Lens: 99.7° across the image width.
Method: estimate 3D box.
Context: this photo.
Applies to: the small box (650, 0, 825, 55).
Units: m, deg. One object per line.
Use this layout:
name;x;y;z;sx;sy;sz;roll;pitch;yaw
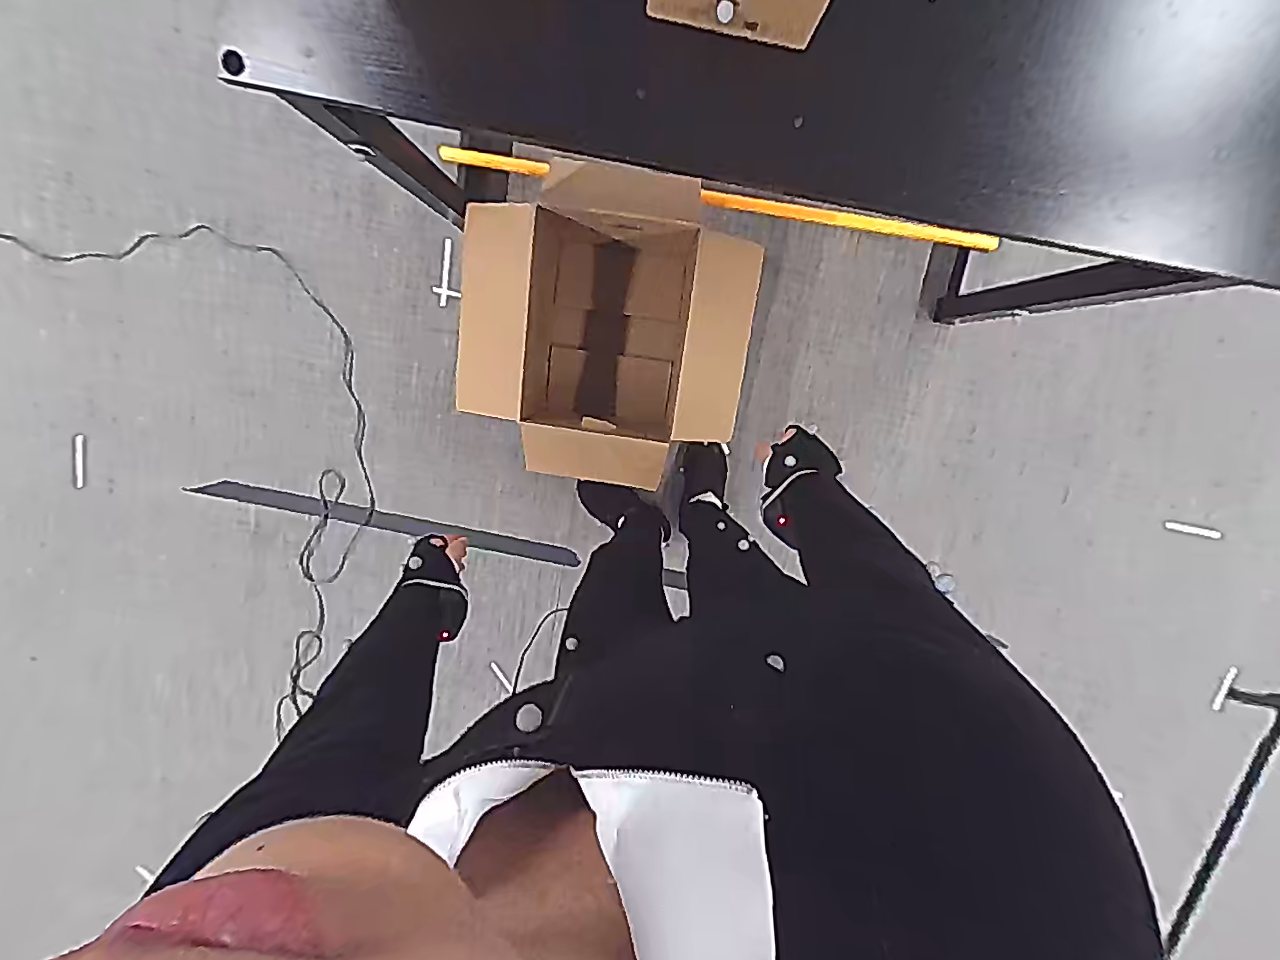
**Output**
small box;0.101;-0.518;0.458;0.168;0.176;0.179;11;102;-2
